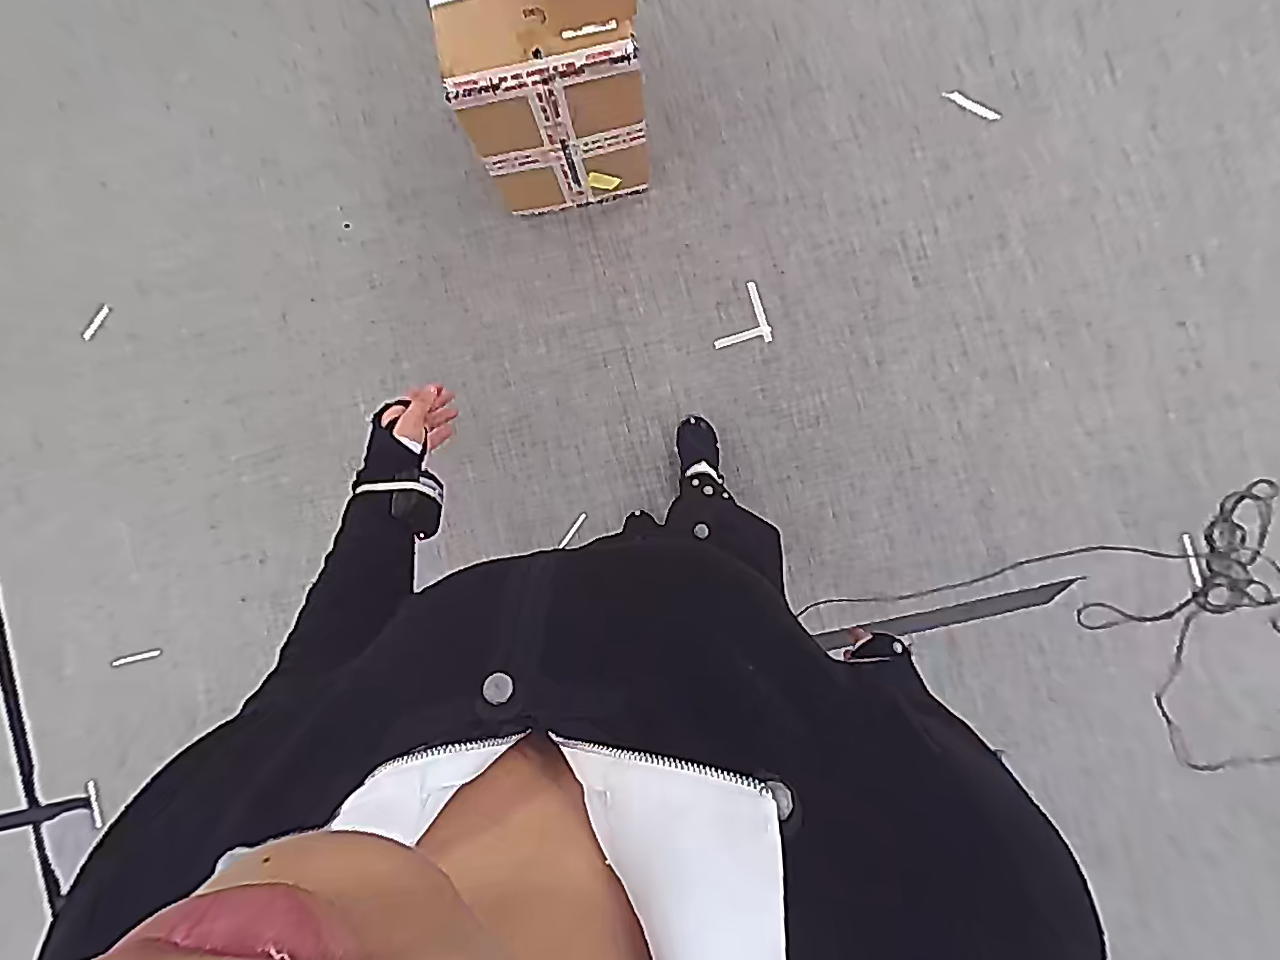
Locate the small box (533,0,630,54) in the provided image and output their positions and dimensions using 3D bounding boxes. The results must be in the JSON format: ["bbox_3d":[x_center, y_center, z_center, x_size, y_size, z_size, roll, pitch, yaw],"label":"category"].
[{"bbox_3d":[-0.115,-0.928,0.980,0.179,0.176,0.168,-11,89,2],"label":"small box"}]
